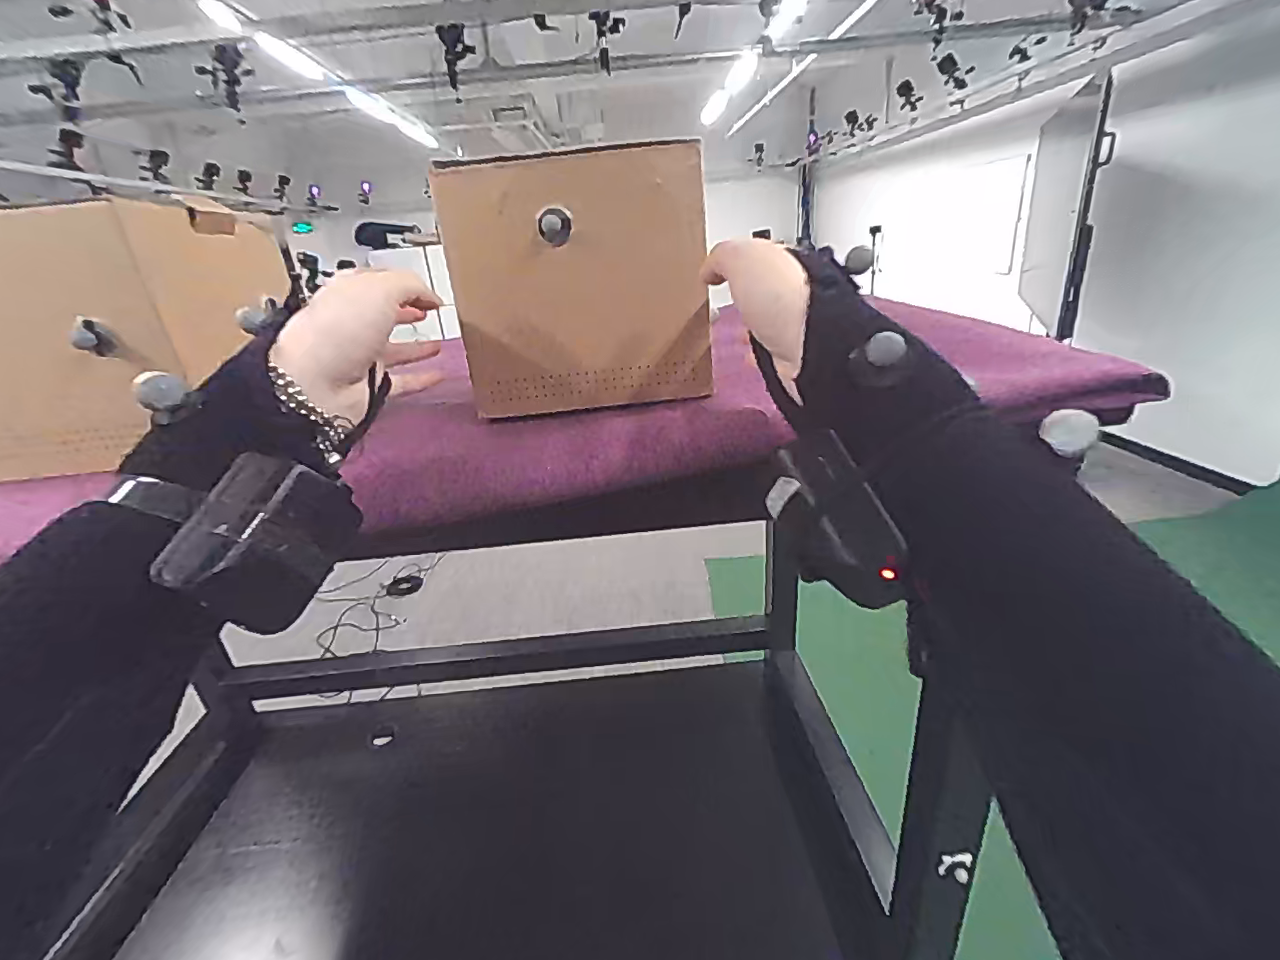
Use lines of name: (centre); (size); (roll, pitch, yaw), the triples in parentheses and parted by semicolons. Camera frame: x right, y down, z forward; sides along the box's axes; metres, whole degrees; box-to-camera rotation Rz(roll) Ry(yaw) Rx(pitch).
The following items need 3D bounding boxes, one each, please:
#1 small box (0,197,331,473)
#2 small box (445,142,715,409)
small box: (-0.382, -0.116, 0.426); (0.179, 0.176, 0.168); (-7, 22, -2)
small box: (-0.037, -0.160, 0.454); (0.179, 0.176, 0.168); (-5, 21, 0)
